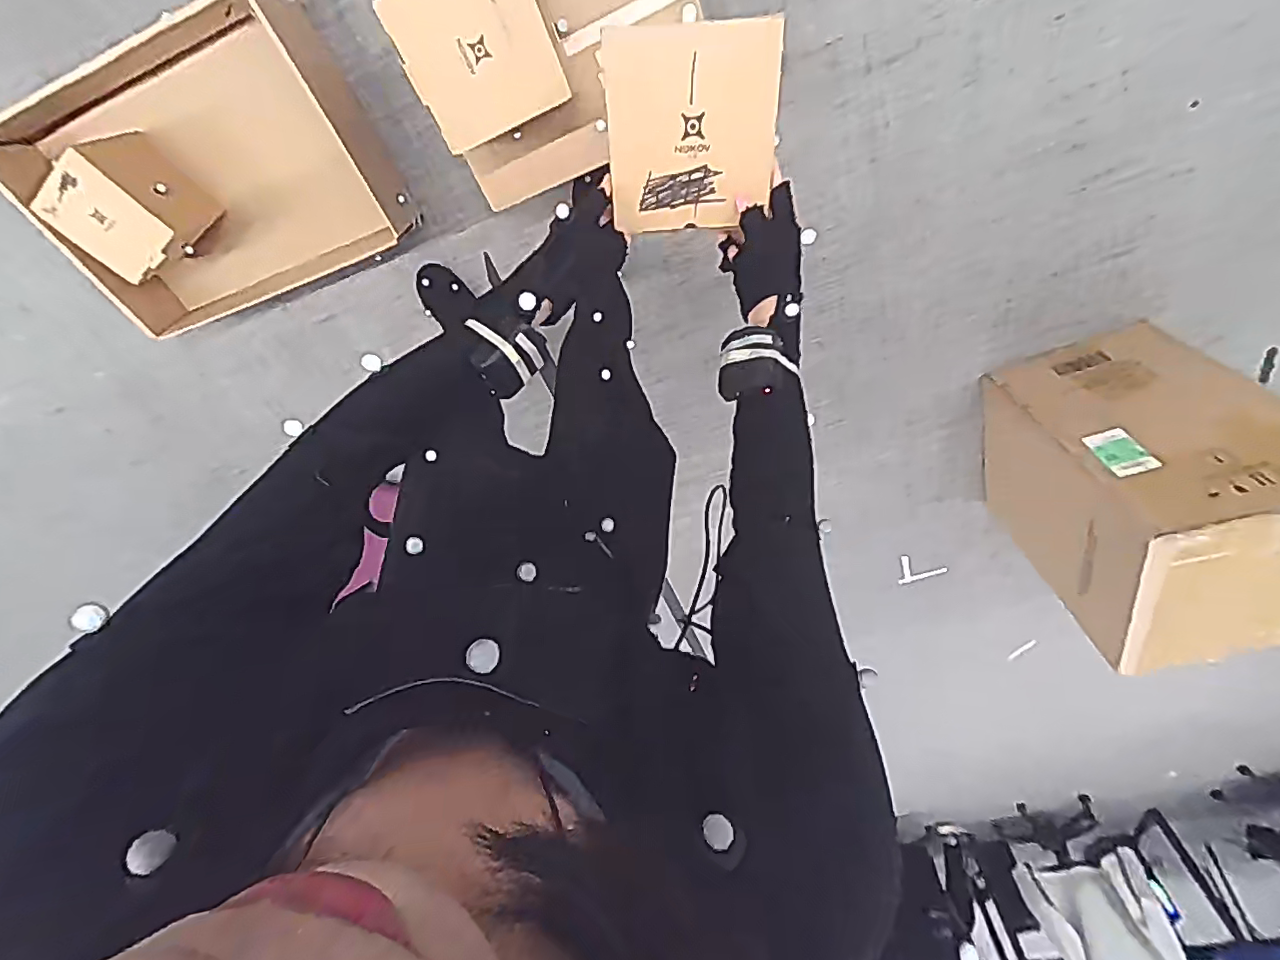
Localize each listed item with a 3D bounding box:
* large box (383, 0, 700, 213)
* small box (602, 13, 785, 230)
[{"bbox_3d":[-0.121,-0.707,0.891,0.408,0.320,0.320,-19,128,11],"label":"large box"},{"bbox_3d":[0.051,-0.390,0.593,0.168,0.176,0.179,-3,127,1],"label":"small box"}]
